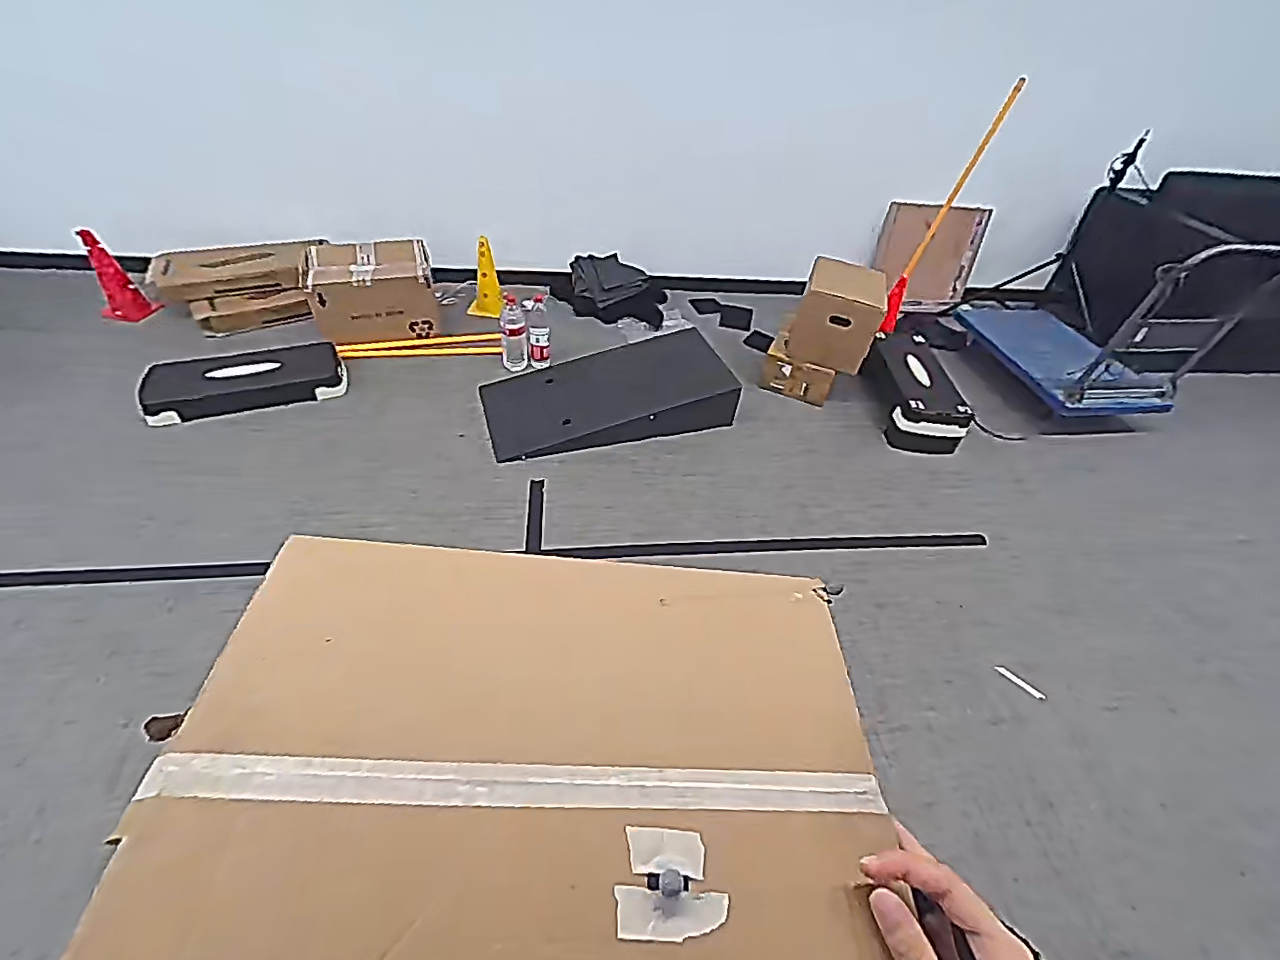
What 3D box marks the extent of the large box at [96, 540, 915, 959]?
[{"bbox_3d":[-0.075,0.275,0.429,0.408,0.320,0.320,7,47,-8],"label":"large box"}]
